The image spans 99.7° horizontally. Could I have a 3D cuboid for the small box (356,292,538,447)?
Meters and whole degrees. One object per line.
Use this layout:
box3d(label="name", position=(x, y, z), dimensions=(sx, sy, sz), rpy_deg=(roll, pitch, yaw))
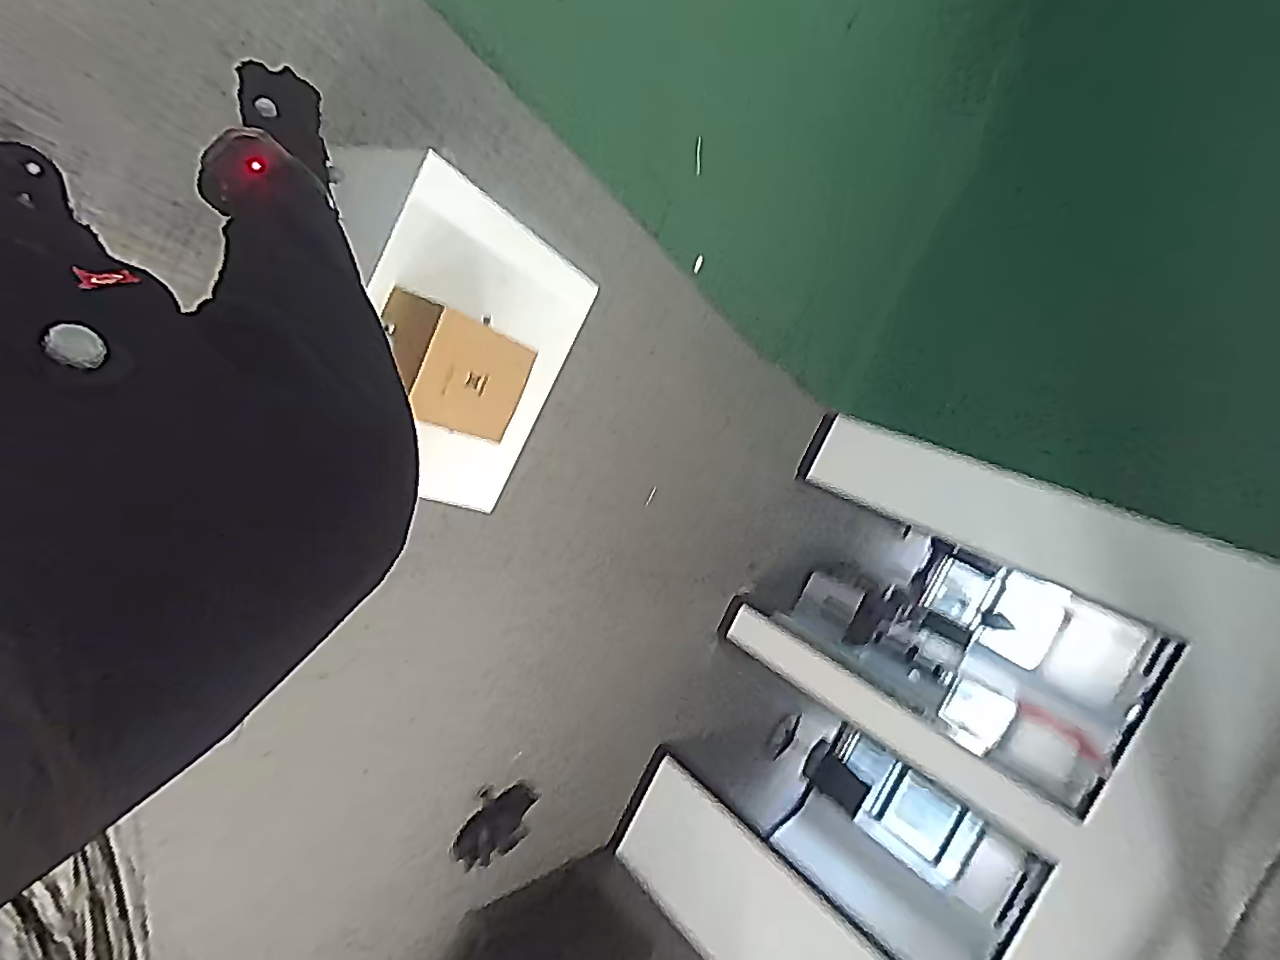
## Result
box3d(label="small box", position=(-0.297, -0.171, 0.833), dimensions=(0.179, 0.176, 0.168), rpy_deg=(17, 99, -52))
